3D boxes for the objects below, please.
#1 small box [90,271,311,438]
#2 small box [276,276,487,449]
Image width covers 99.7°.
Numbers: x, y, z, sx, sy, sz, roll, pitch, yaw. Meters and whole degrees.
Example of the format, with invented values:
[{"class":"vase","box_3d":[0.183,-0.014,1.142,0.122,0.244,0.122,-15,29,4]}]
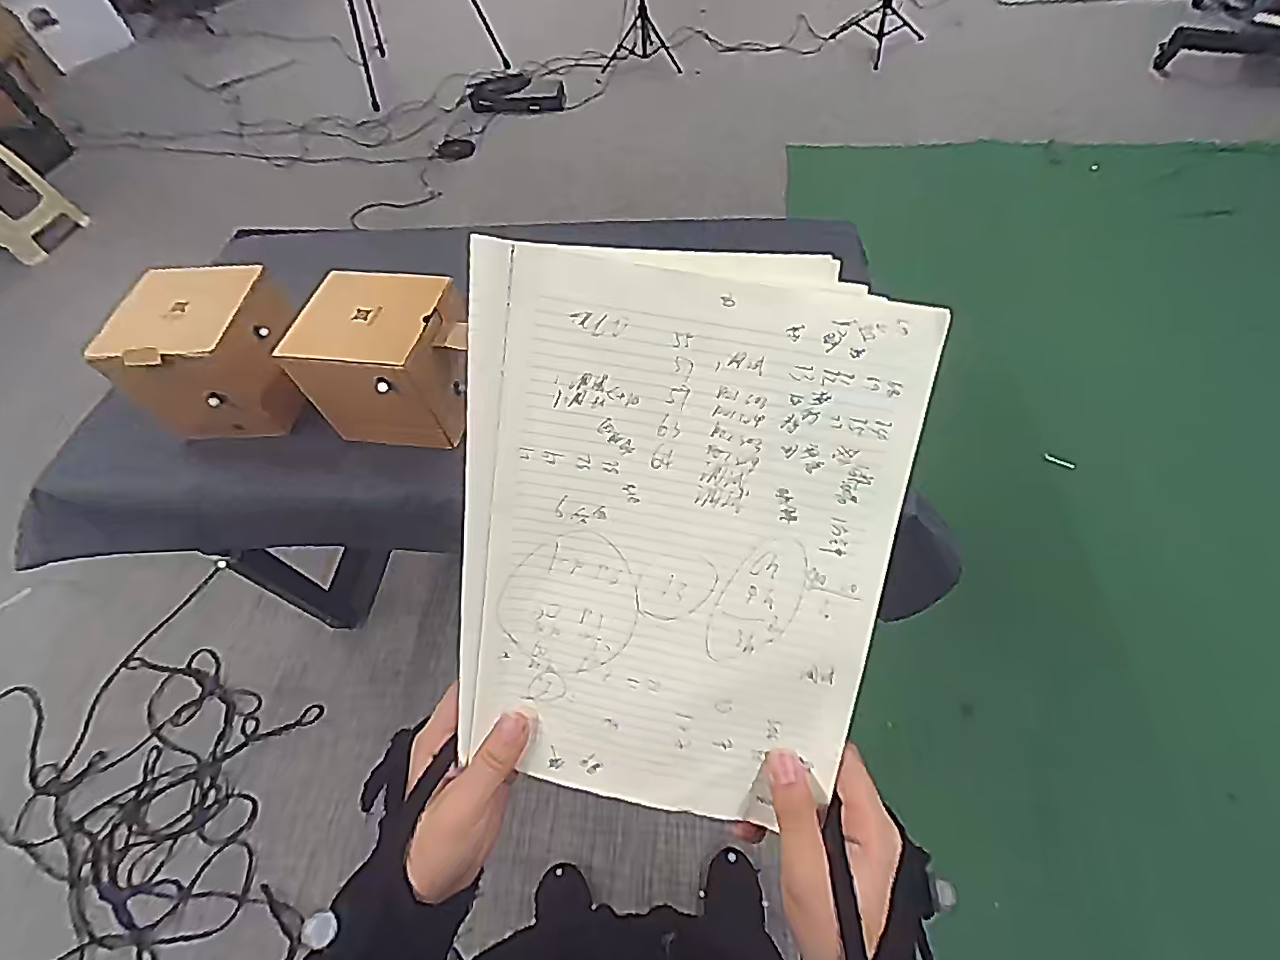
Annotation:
[{"class":"small box","box_3d":[-0.595,-0.172,0.775,0.168,0.176,0.179,-2,55,2]},{"class":"small box","box_3d":[-0.337,-0.158,0.747,0.179,0.176,0.168,5,57,7]}]
